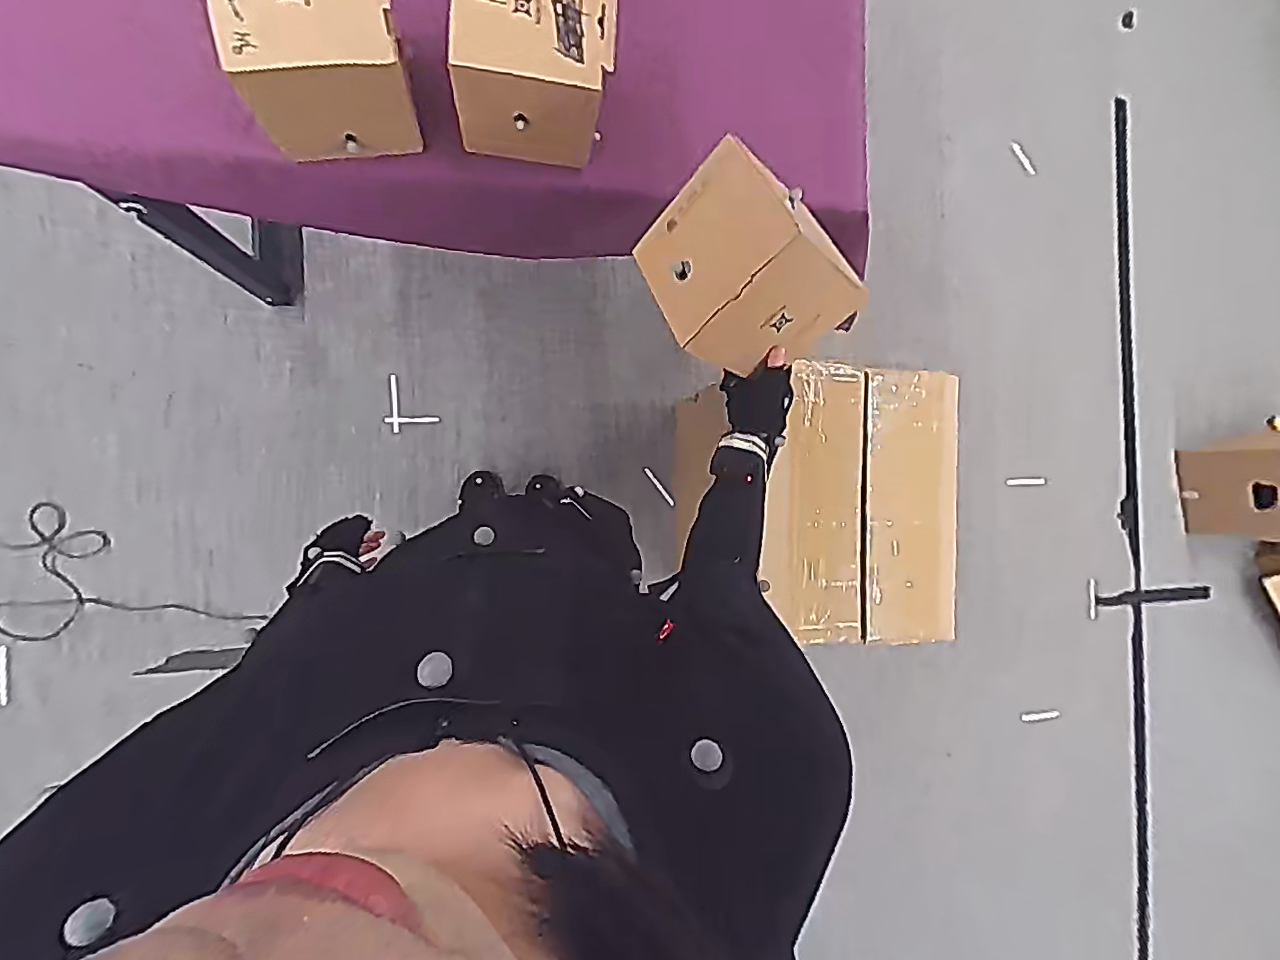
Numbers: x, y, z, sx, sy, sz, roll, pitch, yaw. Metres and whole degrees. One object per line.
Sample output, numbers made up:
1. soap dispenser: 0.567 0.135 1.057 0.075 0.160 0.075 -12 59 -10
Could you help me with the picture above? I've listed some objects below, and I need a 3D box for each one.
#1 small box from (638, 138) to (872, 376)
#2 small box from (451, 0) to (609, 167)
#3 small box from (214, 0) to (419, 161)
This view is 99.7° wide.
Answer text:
1. small box: 0.125 -0.253 0.629 0.179 0.168 0.176 7 53 -46
2. small box: -0.140 -0.542 0.706 0.179 0.176 0.168 3 88 -11
3. small box: -0.379 -0.519 0.657 0.179 0.176 0.168 -12 91 -13
